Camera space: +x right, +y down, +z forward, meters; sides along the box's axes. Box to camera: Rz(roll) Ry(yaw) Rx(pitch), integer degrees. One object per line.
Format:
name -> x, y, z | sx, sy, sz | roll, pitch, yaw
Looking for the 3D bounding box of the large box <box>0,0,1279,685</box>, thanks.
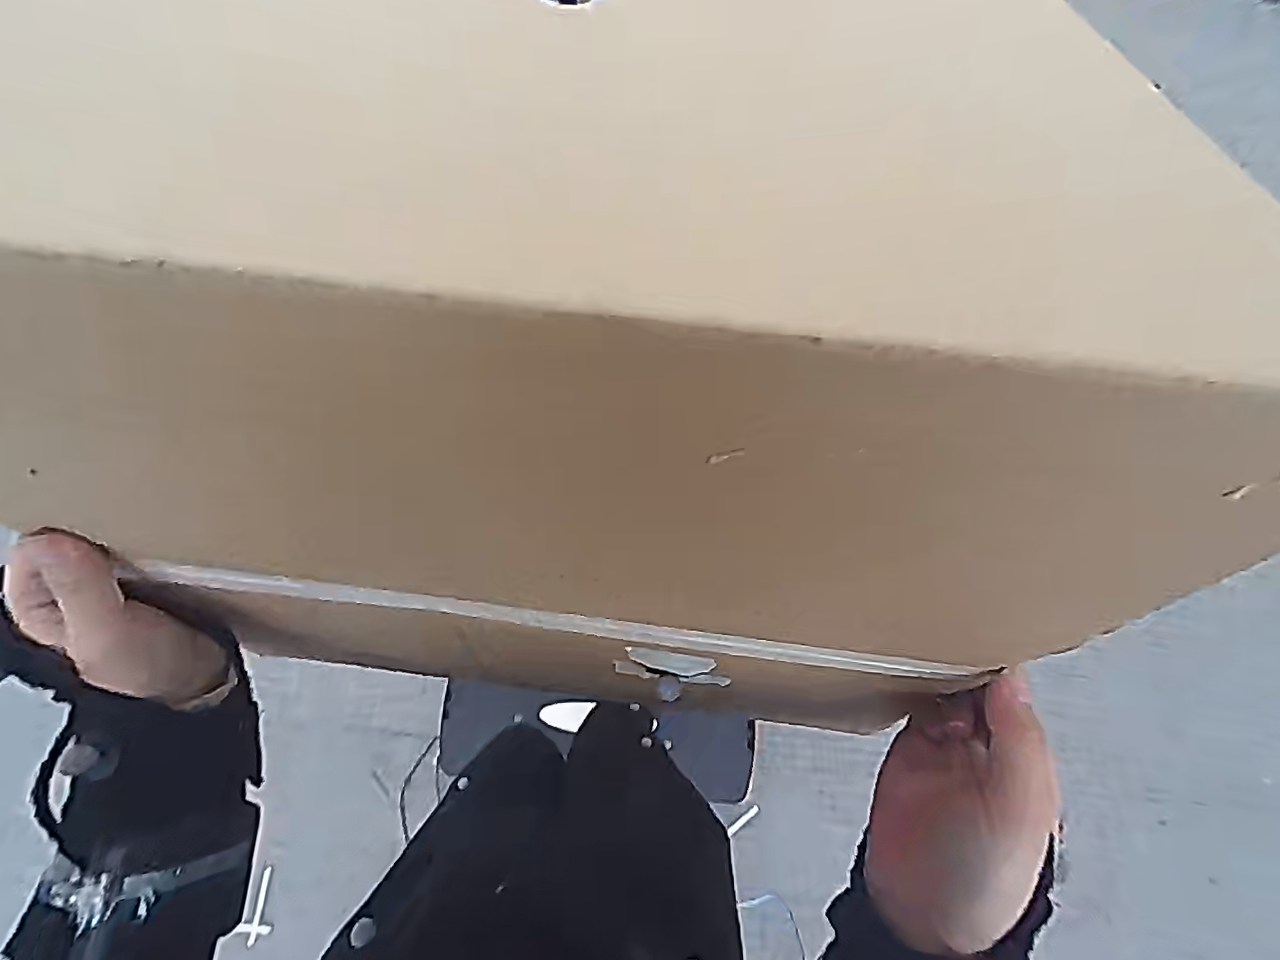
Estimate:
large box -> -0.021, -0.098, 0.309 | 0.408, 0.320, 0.320 | 6, 57, 2
